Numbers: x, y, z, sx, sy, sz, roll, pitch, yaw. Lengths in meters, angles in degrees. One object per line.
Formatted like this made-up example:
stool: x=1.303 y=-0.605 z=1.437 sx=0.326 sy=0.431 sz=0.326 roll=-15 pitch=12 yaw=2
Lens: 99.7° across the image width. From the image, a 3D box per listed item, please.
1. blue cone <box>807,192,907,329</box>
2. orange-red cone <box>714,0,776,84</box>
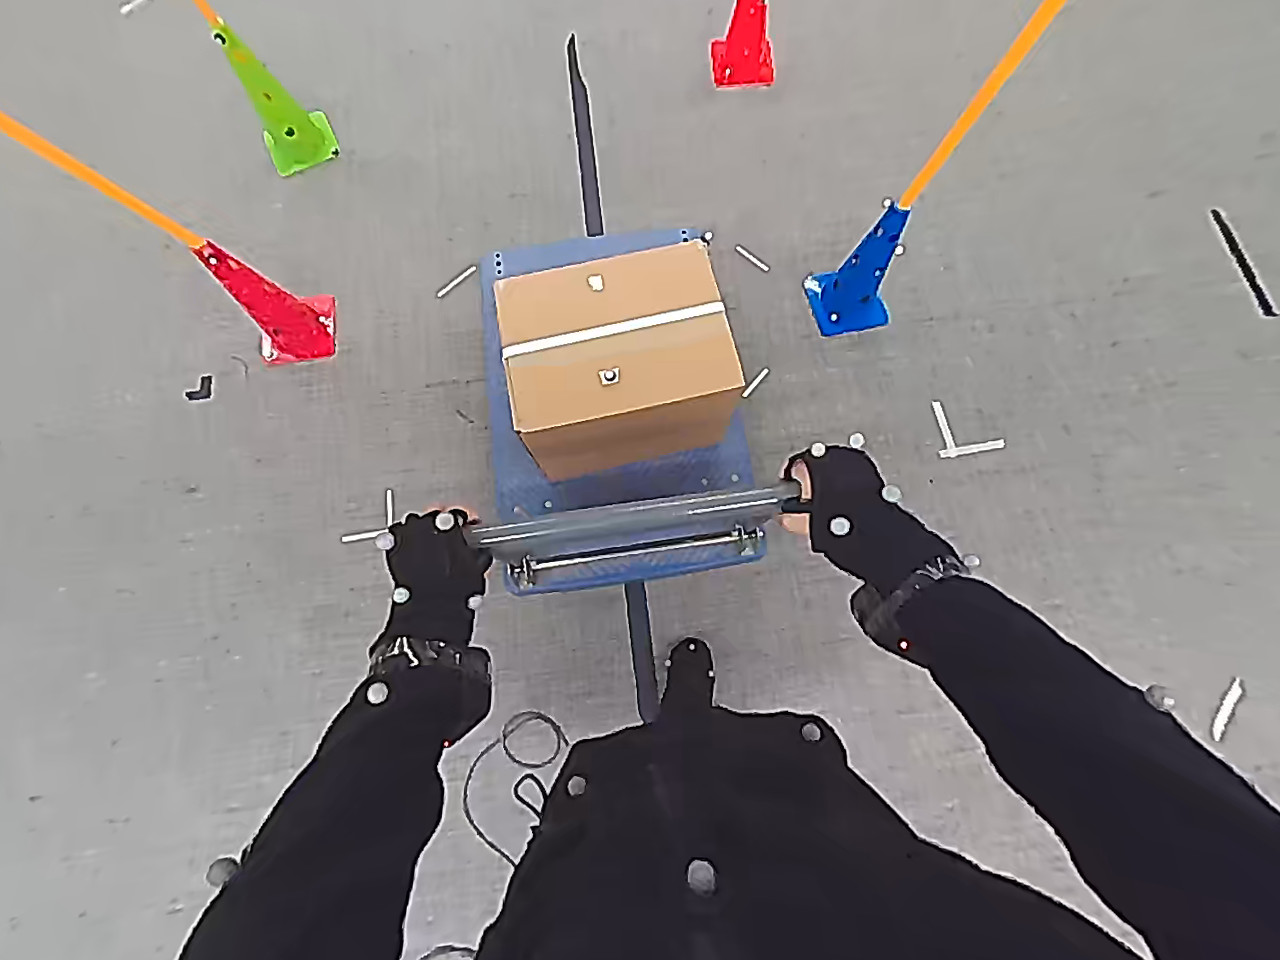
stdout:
blue cone: x=0.583 y=-0.564 z=1.375 sx=0.193 sy=0.380 sz=0.192 roll=-11 pitch=74 yaw=-3
orange-red cone: x=0.341 y=-1.414 z=1.597 sx=0.199 sy=0.360 sz=0.198 roll=-1 pitch=75 yaw=0
